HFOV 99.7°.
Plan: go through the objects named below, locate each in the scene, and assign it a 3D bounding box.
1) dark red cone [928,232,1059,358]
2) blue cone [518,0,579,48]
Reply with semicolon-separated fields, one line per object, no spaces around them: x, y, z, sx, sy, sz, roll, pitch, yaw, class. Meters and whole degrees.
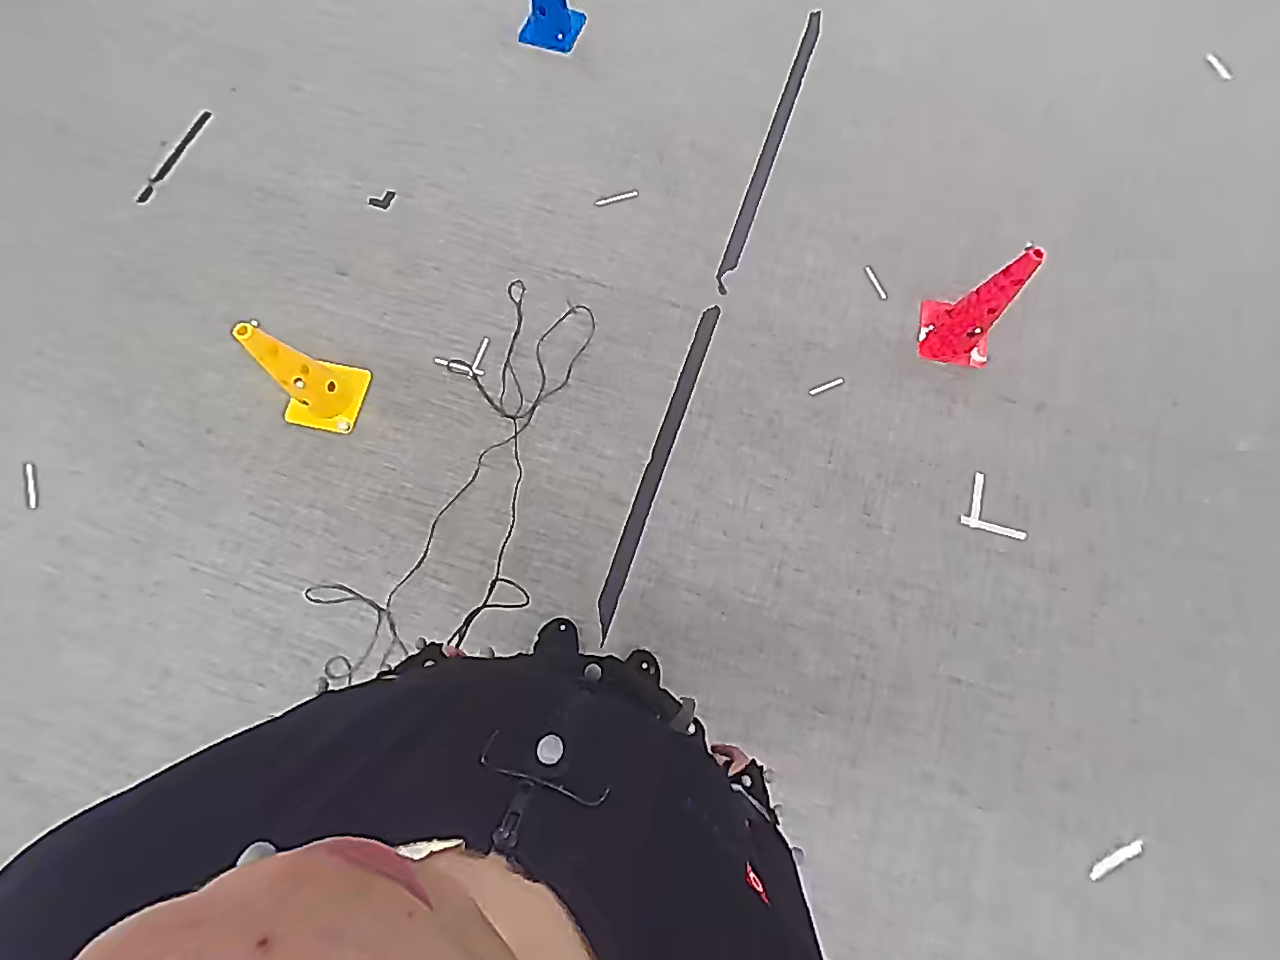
0.935;-0.496;1.409;0.201;0.394;0.202;10;74;4;dark red cone
-0.327;-1.668;1.773;0.192;0.380;0.193;18;75;6;blue cone
